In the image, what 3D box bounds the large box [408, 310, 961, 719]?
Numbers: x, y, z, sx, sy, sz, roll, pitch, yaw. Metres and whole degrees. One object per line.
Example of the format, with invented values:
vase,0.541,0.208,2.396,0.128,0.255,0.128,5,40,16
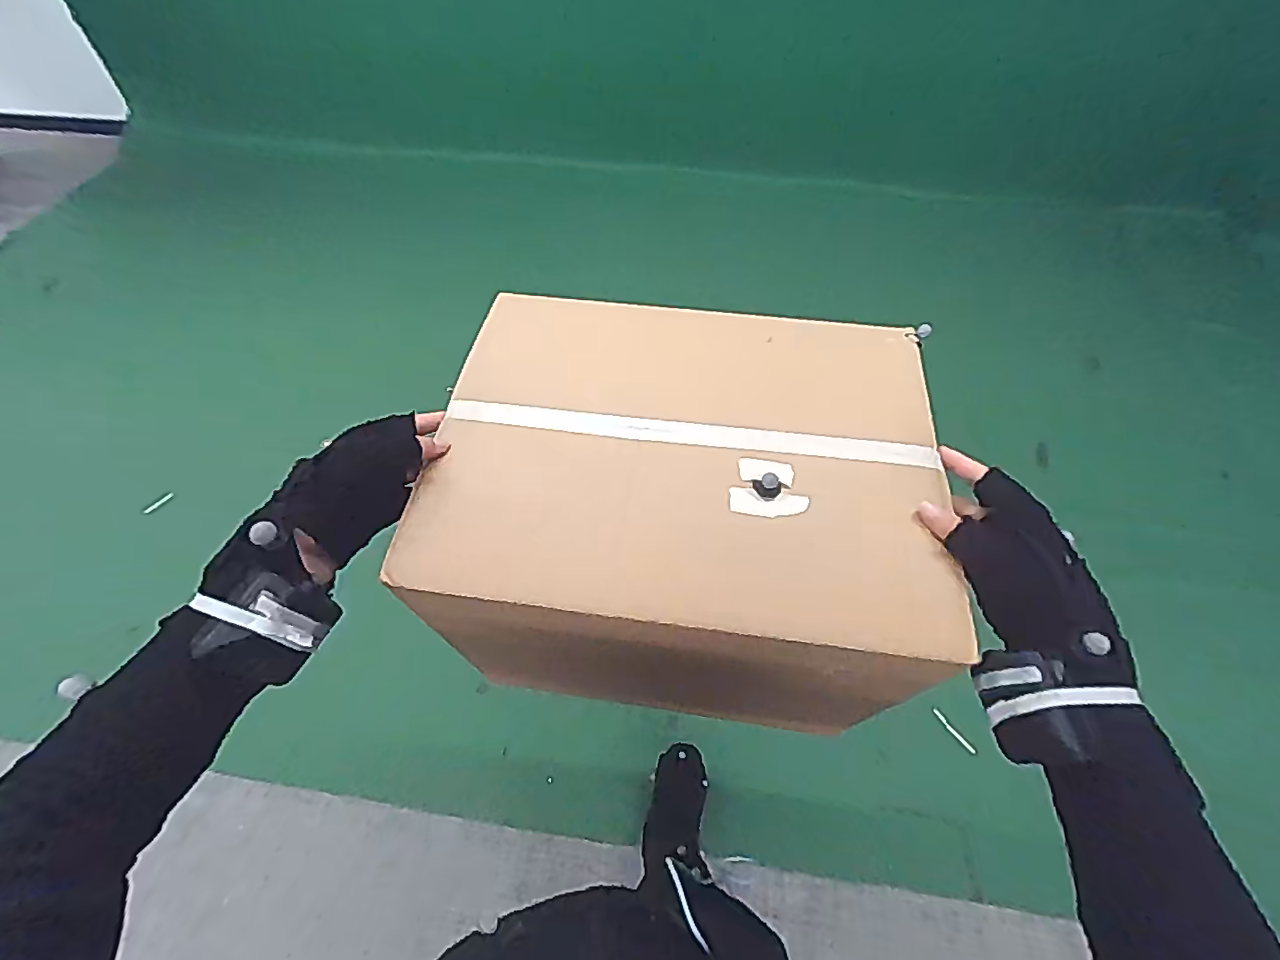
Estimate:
large box,0.042,0.049,0.586,0.408,0.320,0.320,6,58,5
